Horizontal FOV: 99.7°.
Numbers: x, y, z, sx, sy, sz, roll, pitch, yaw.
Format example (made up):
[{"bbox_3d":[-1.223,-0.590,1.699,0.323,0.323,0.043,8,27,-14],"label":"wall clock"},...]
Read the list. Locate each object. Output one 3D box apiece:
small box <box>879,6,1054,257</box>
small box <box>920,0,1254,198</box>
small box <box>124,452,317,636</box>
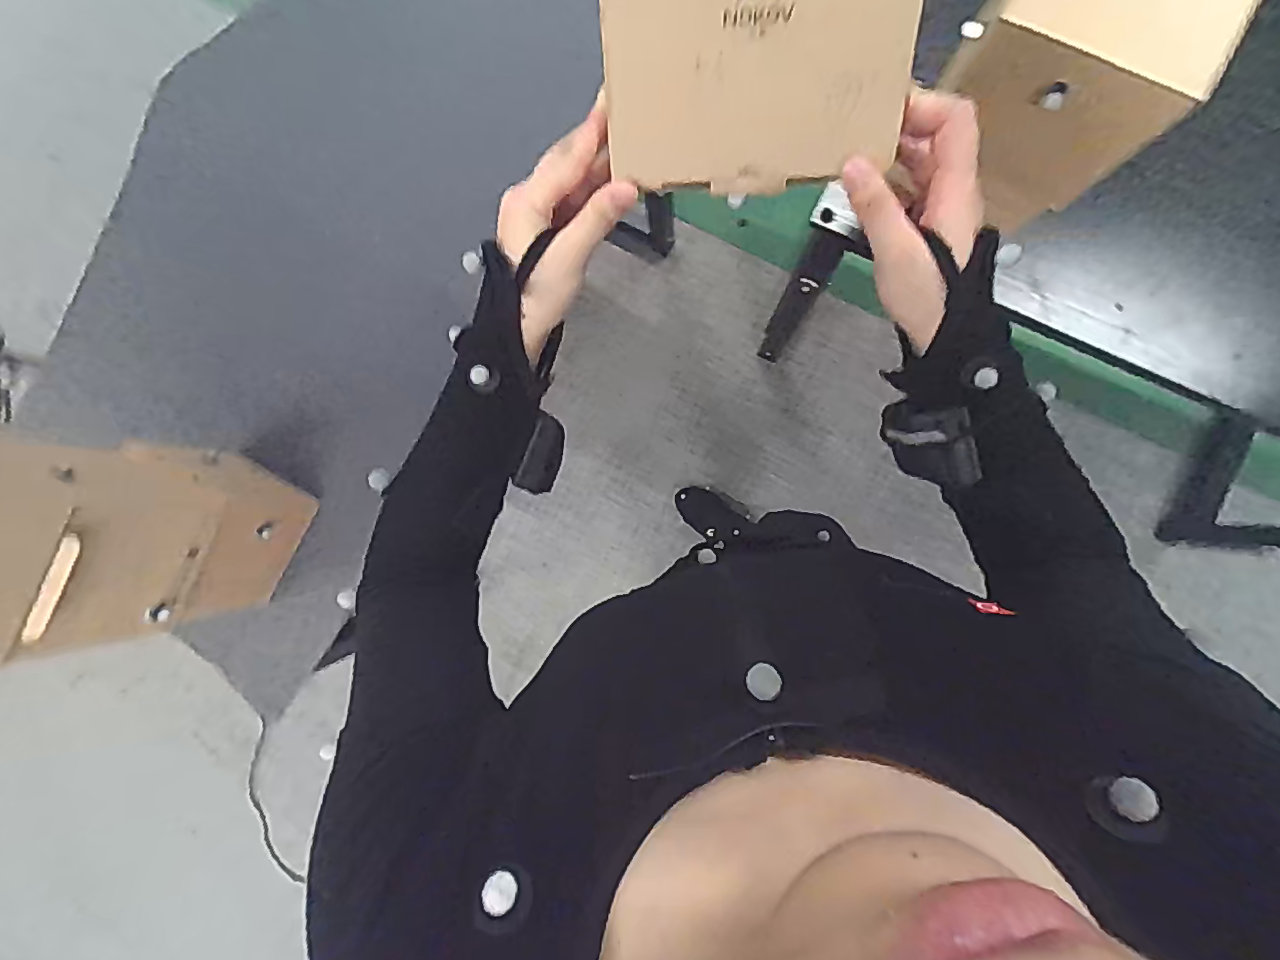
[{"bbox_3d":[0.428,-0.416,0.678,0.168,0.176,0.179,27,90,5],"label":"small box"},{"bbox_3d":[0.413,-0.407,0.516,0.179,0.176,0.168,27,90,6],"label":"small box"},{"bbox_3d":[-0.591,0.082,0.744,0.168,0.176,0.179,27,90,8],"label":"small box"}]
